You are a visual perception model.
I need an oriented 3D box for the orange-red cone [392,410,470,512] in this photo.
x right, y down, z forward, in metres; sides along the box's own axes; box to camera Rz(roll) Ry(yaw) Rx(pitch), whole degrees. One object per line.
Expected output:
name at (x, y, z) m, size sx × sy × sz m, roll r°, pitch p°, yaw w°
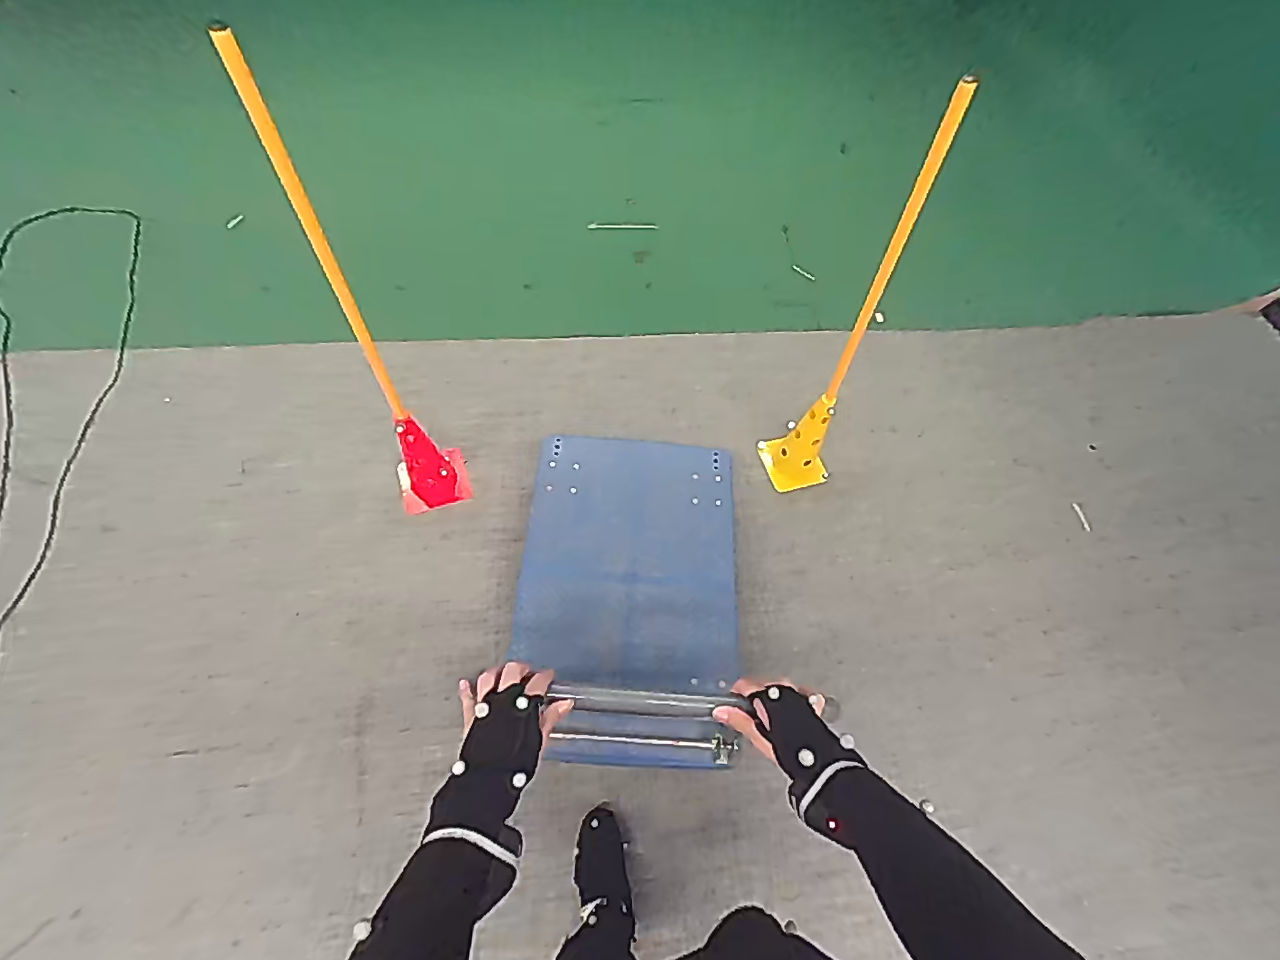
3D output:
orange-red cone at (-0.645, -0.082, 1.571) m, size 0.199 × 0.360 × 0.198 m, roll -17°, pitch 63°, yaw -12°
